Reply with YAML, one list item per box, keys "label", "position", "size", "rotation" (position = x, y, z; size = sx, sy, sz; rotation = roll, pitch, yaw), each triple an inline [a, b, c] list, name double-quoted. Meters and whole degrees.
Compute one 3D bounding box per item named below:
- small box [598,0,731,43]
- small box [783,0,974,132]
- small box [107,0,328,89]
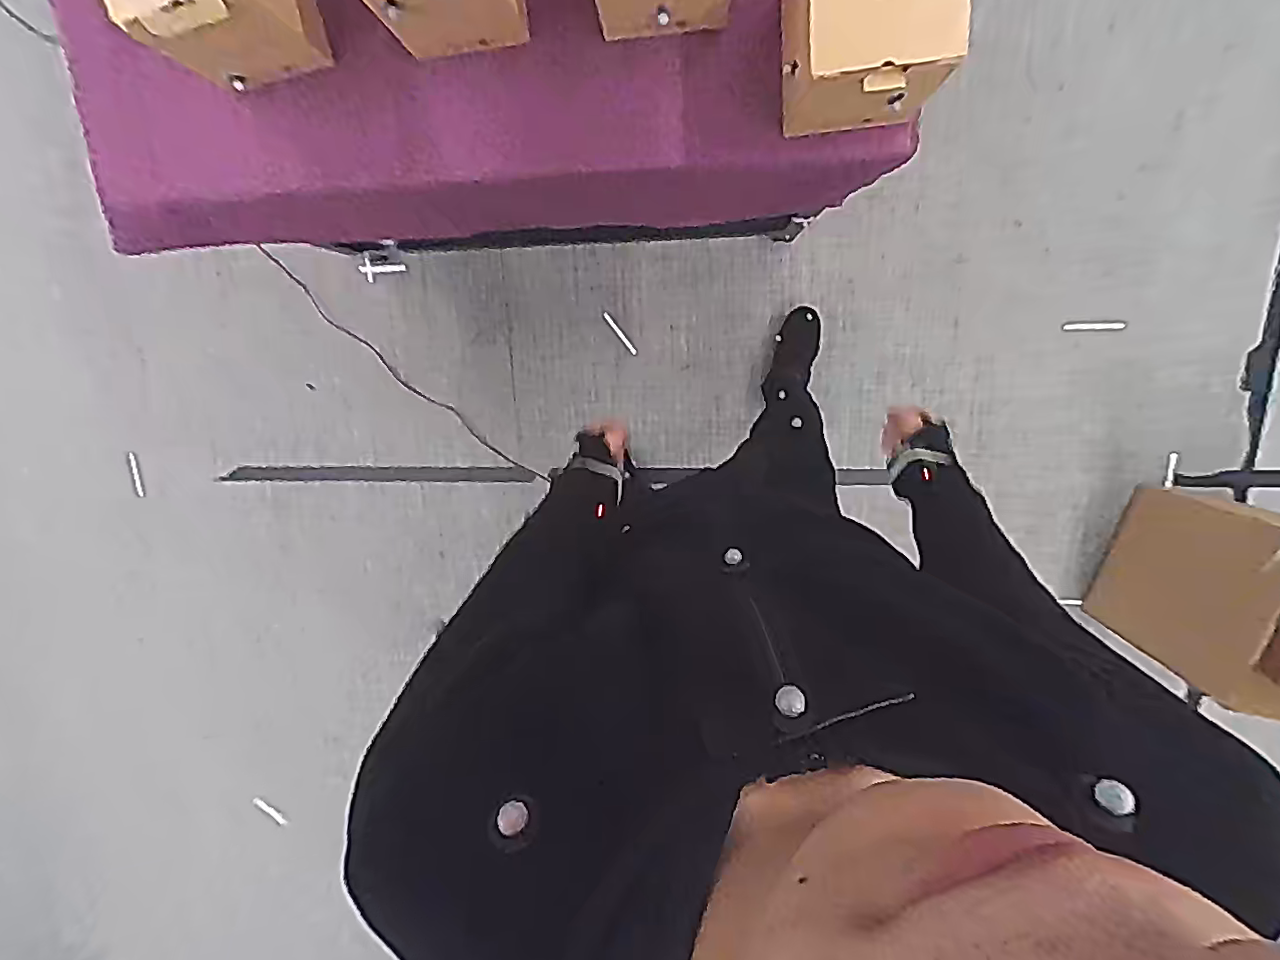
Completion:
- label: "small box"
  position: [0.024, -0.658, 0.625]
  size: [0.168, 0.176, 0.179]
  rotation: [-2, 103, 5]
- label: "small box"
  position: [0.268, -0.536, 0.636]
  size: [0.168, 0.176, 0.179]
  rotation: [-3, 102, 5]
- label: "small box"
  position: [-0.531, -0.627, 0.674]
  size: [0.168, 0.176, 0.179]
  rotation: [-11, 101, 6]
